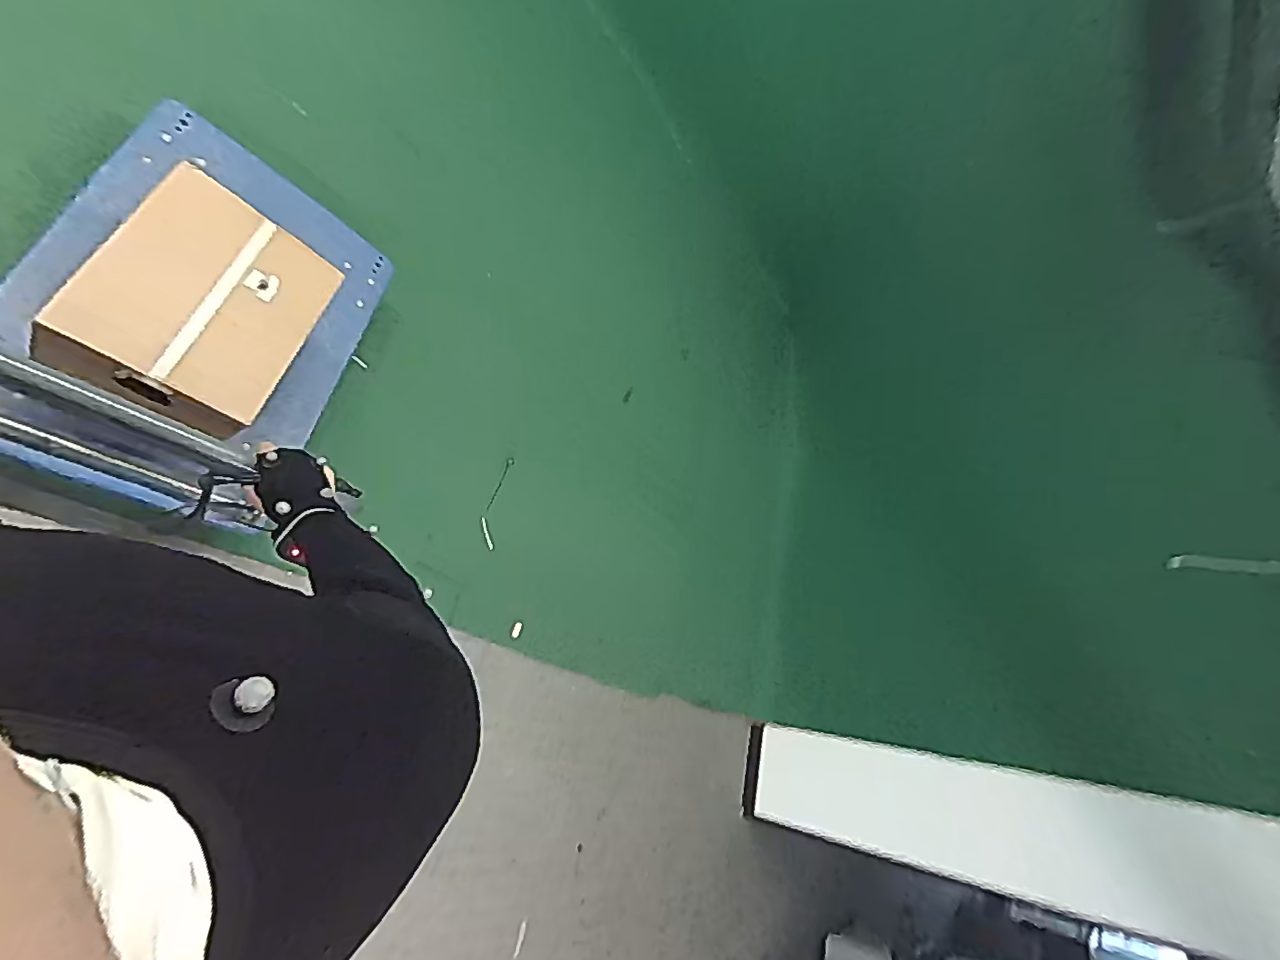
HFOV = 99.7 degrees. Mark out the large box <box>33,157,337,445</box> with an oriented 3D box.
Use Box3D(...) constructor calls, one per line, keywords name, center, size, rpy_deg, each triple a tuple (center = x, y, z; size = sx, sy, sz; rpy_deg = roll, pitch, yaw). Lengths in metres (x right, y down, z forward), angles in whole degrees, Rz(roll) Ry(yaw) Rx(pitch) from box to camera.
Box3D(name="large box", center=(-0.911, -0.335, 1.106), size=(0.320, 0.320, 0.408), rpy_deg=(38, 55, -40))
